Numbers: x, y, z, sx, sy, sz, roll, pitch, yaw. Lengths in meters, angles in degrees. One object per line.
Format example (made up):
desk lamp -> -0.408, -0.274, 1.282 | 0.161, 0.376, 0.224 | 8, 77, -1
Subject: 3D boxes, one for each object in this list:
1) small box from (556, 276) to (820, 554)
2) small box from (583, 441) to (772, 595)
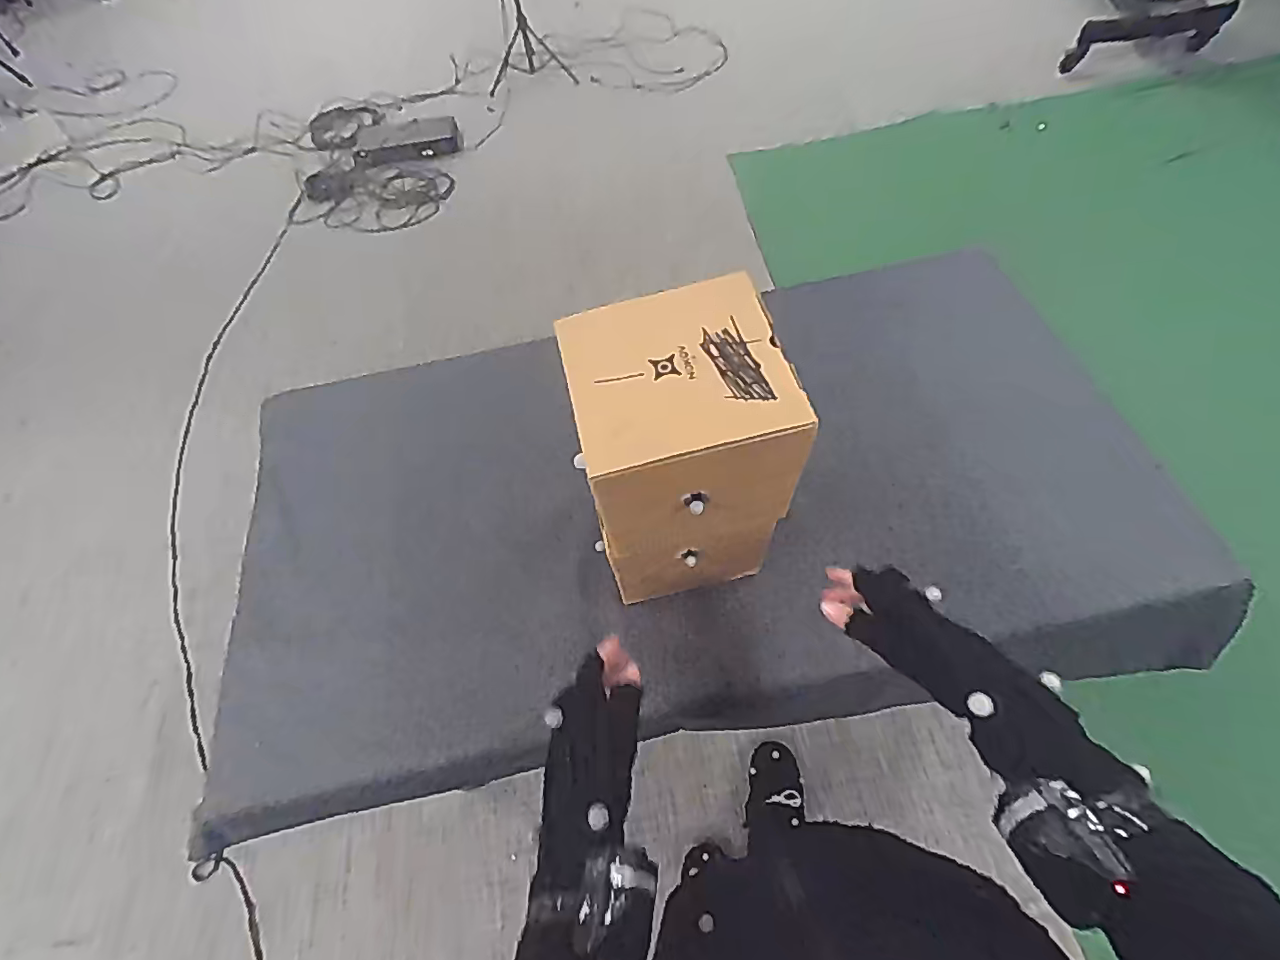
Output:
small box -> 0.036, -0.051, 0.501 | 0.179, 0.176, 0.168 | -16, 62, -4
small box -> 0.040, 0.024, 0.648 | 0.179, 0.176, 0.168 | -13, 62, -3
